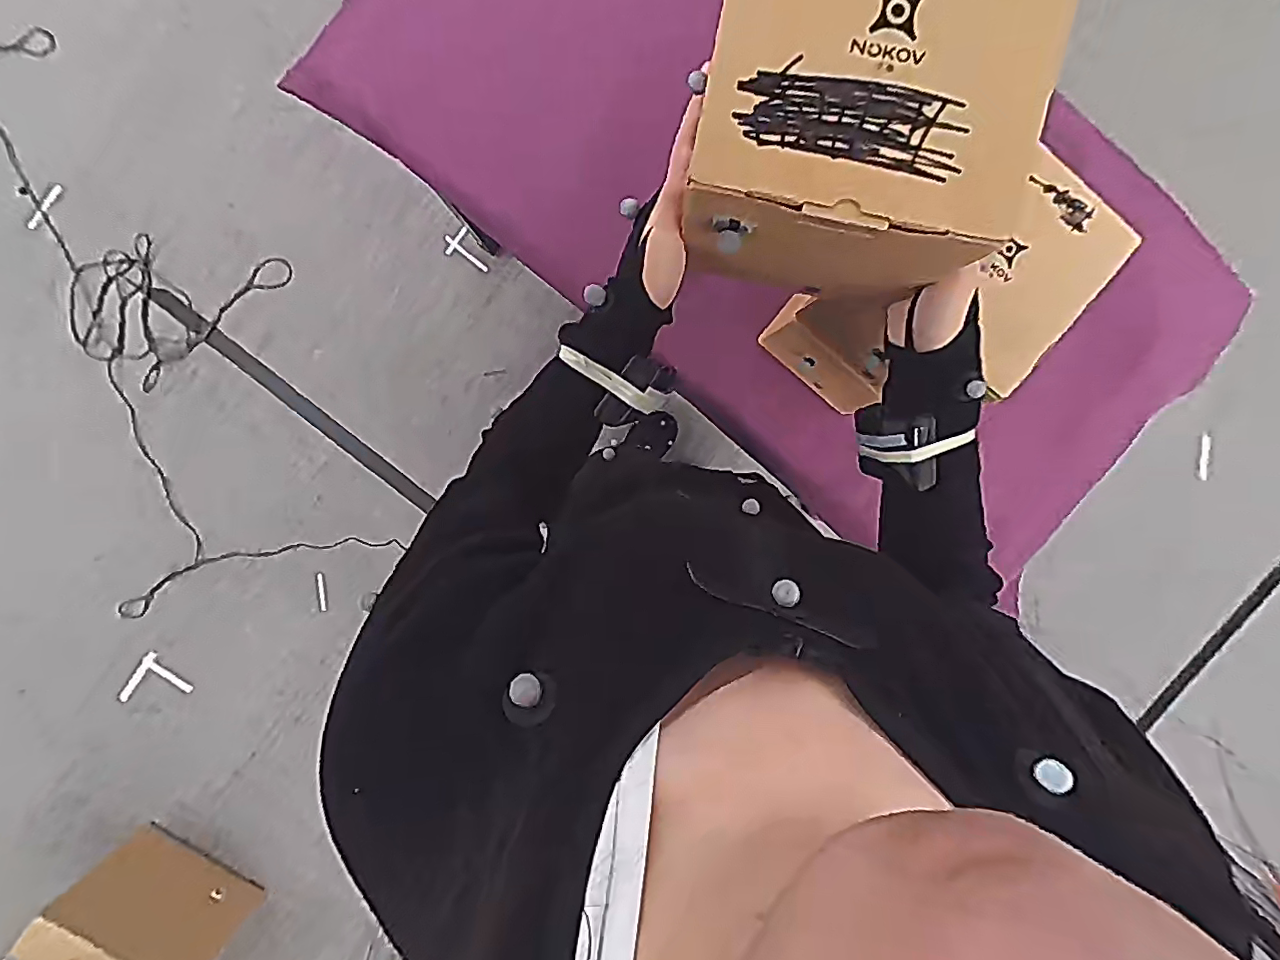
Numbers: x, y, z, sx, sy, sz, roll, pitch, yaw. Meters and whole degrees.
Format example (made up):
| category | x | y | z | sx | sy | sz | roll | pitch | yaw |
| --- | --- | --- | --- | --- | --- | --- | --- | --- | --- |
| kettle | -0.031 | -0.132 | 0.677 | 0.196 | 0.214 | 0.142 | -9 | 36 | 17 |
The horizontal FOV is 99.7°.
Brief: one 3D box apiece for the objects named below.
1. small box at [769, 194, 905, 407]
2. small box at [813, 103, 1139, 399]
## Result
| category | x | y | z | sx | sy | sz | roll | pitch | yaw |
| --- | --- | --- | --- | --- | --- | --- | --- | --- | --- |
| small box | 0.284 | -0.206 | 0.684 | 0.168 | 0.176 | 0.179 | 39 | 93 | -5 |
| small box | 0.292 | -0.193 | 0.521 | 0.168 | 0.176 | 0.179 | 40 | 94 | -5 |
